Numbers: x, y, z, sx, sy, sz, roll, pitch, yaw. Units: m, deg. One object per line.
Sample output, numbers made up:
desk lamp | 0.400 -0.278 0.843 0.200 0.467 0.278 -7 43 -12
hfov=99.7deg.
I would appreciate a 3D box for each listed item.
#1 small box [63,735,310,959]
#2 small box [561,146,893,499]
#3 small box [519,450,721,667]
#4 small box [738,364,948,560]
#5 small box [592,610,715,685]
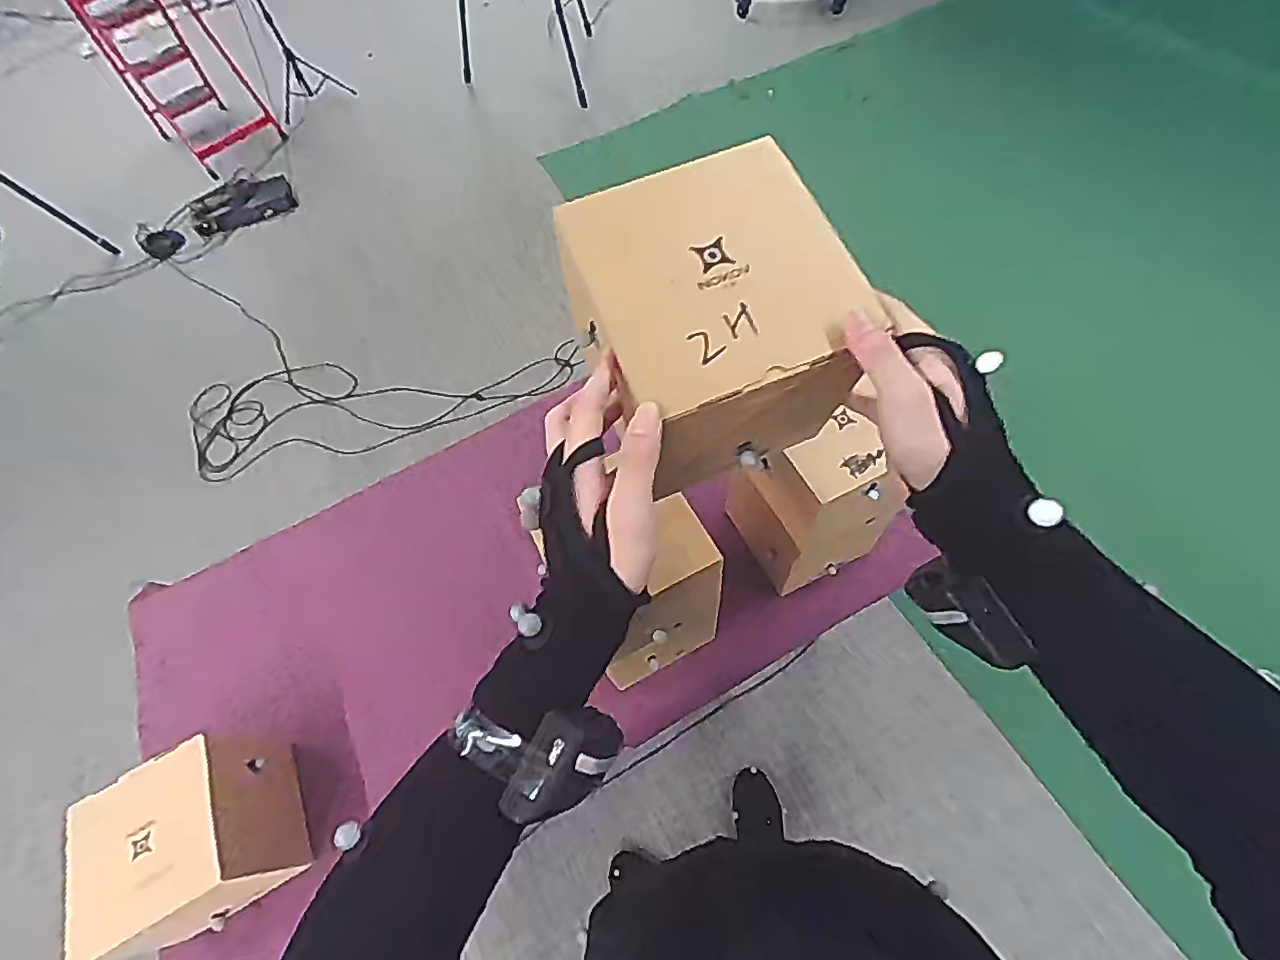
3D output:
small box | -0.557 0.455 0.683 0.168 0.176 0.179 -29 61 -9
small box | 0.051 -0.108 0.424 0.168 0.176 0.179 -21 73 -6
small box | -0.019 0.095 0.641 0.168 0.176 0.179 -26 61 -8
small box | 0.231 -0.030 0.679 0.168 0.176 0.179 -25 60 -7
small box | -0.003 0.178 0.782 0.168 0.176 0.179 -27 60 -9
